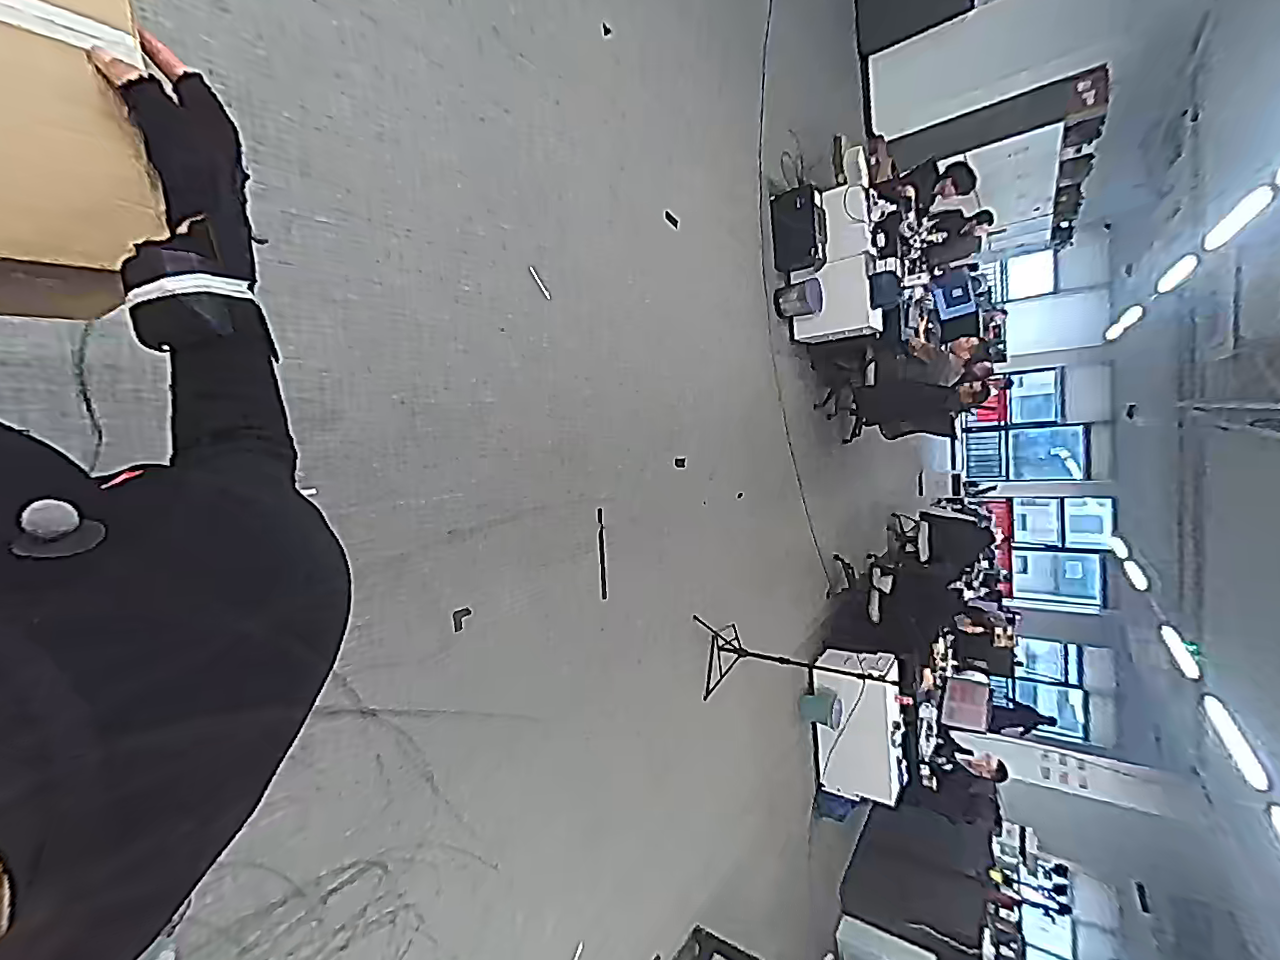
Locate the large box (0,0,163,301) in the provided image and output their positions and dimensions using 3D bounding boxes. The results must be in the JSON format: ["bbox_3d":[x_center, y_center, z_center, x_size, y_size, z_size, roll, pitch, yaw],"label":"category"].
[{"bbox_3d":[-0.621,-0.305,0.335,0.408,0.320,0.320,-14,106,-53],"label":"large box"}]
